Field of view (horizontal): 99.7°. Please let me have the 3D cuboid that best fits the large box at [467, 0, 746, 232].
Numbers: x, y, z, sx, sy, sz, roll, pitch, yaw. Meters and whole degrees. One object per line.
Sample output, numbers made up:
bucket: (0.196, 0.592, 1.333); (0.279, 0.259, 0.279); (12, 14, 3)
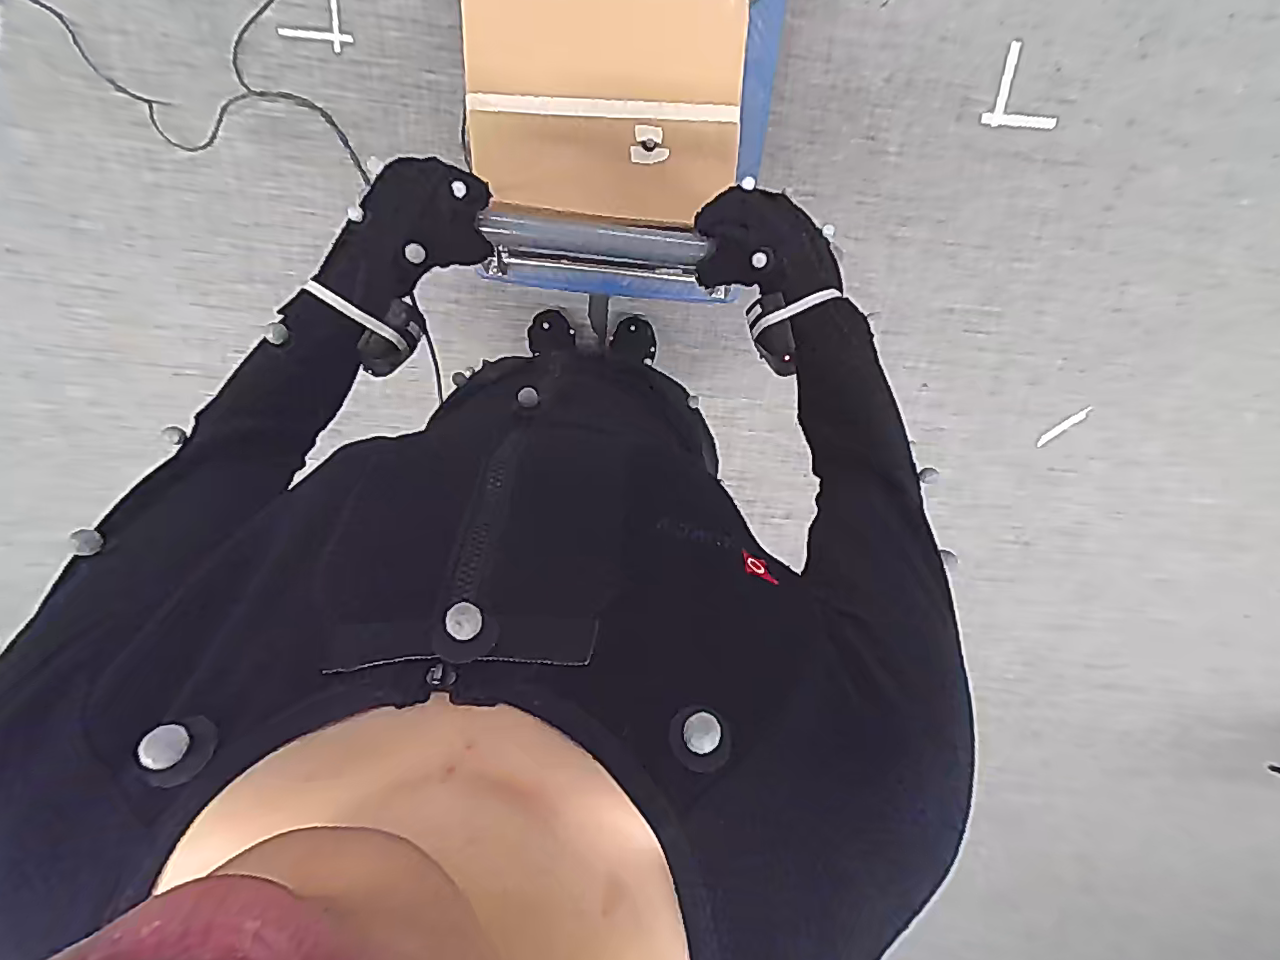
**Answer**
large box: (-0.057, -0.621, 0.952); (0.408, 0.320, 0.320); (0, 111, -4)
